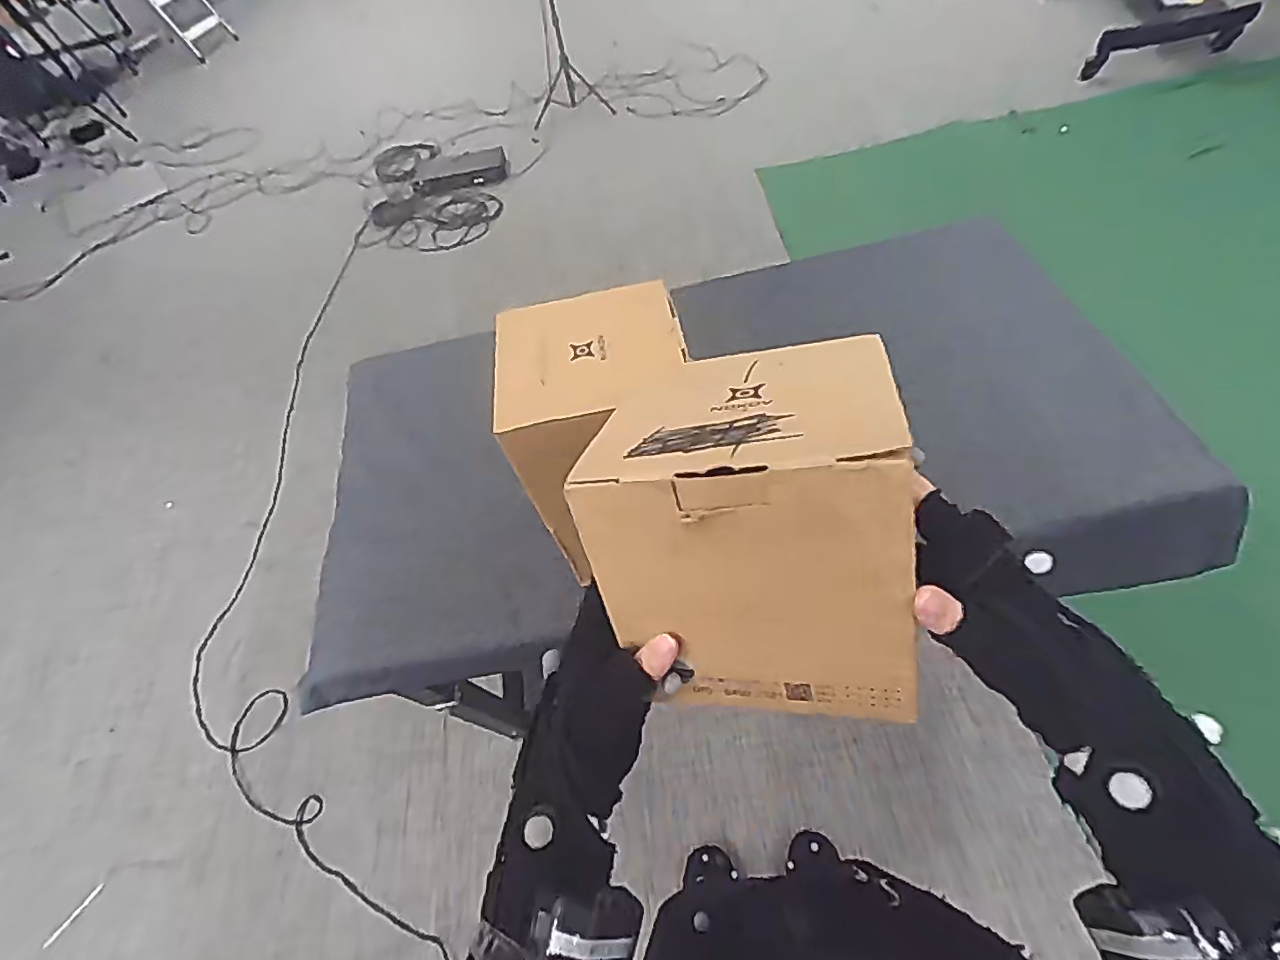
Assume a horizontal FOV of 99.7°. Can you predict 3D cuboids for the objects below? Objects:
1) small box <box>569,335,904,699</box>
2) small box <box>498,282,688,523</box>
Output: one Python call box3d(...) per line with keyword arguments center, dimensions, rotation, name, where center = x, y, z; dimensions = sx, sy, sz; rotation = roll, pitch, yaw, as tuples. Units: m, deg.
box3d(center=(0.079, 0.021, 0.365), dimensions=(0.168, 0.176, 0.179), rotation=(-4, 29, 21), name="small box")
box3d(center=(-0.036, -0.075, 0.574), dimensions=(0.179, 0.176, 0.168), rotation=(-11, 54, 3), name="small box")
